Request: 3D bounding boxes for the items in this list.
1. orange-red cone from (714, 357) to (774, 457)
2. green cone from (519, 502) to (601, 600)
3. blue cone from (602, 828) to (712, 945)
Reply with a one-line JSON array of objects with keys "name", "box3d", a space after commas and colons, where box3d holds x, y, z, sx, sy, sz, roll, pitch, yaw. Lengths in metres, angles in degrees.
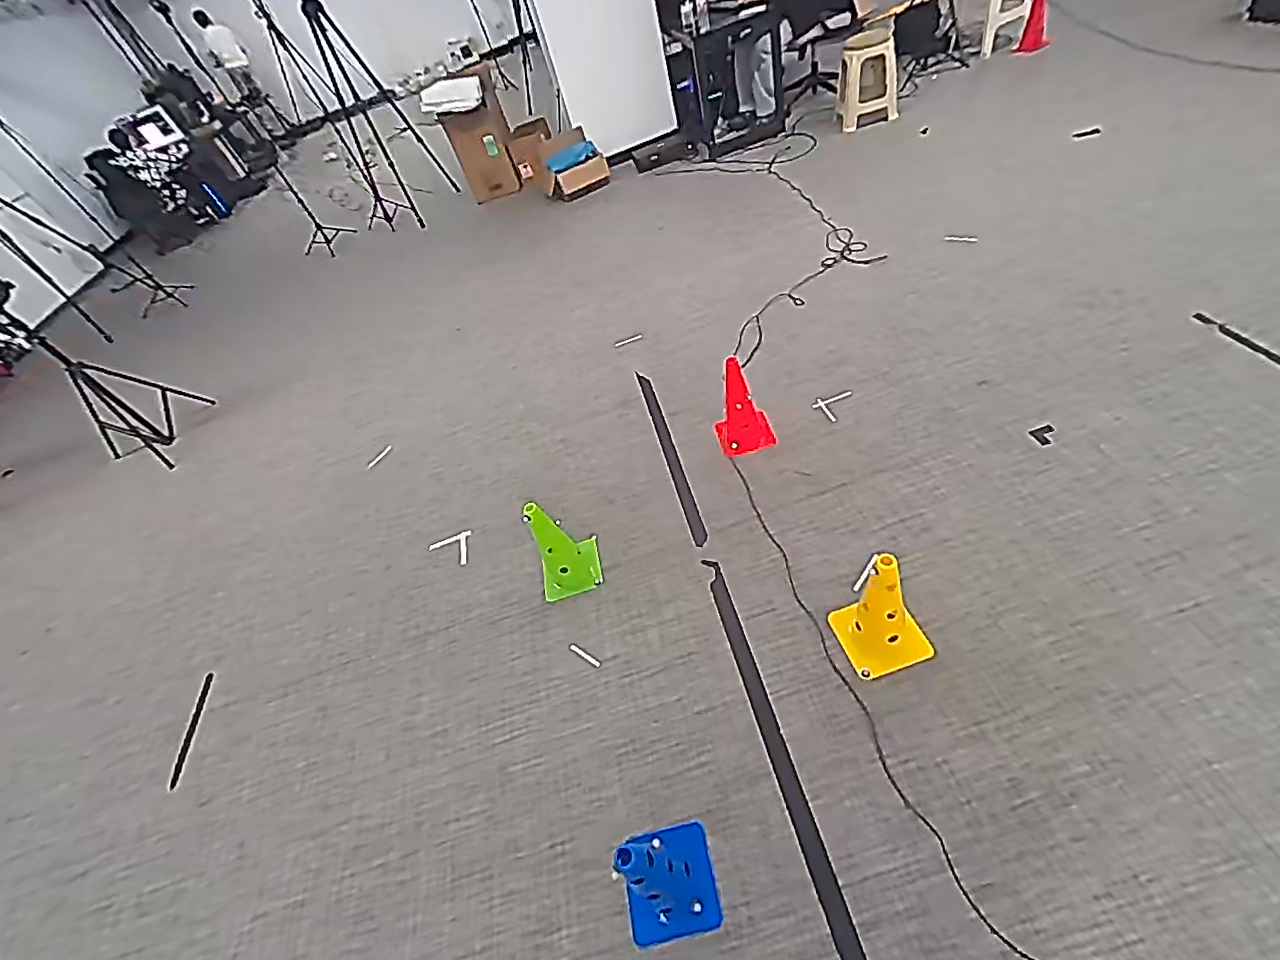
[{"name": "orange-red cone", "box3d": [0.347, -0.285, 1.916, 0.199, 0.360, 0.198, -15, 47, 5]}, {"name": "green cone", "box3d": [-0.284, 0.189, 1.716, 0.202, 0.368, 0.200, -20, 46, 4]}, {"name": "blue cone", "box3d": [0.011, 0.789, 1.084, 0.192, 0.380, 0.193, -17, 45, 6]}]
